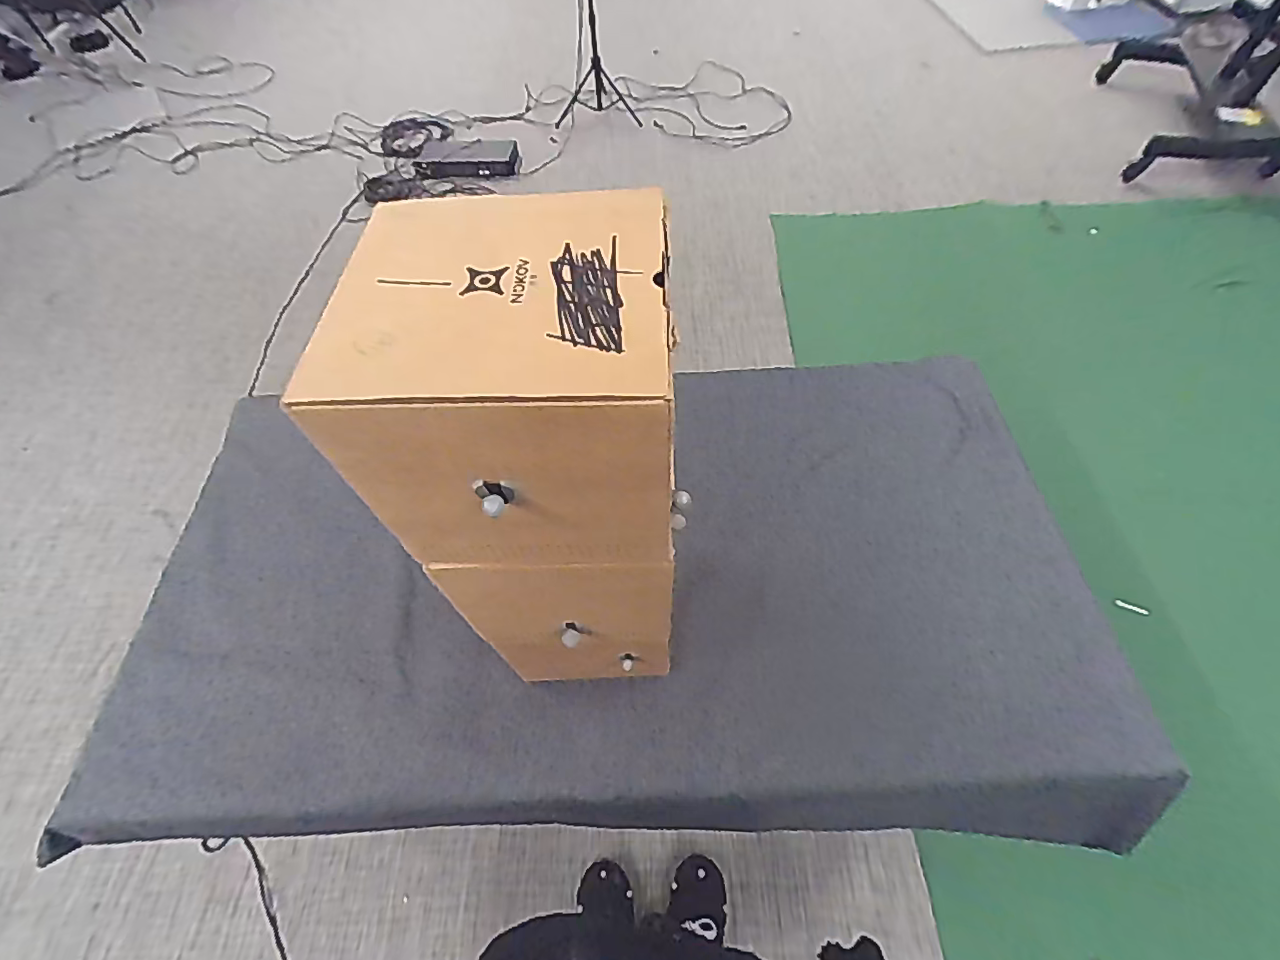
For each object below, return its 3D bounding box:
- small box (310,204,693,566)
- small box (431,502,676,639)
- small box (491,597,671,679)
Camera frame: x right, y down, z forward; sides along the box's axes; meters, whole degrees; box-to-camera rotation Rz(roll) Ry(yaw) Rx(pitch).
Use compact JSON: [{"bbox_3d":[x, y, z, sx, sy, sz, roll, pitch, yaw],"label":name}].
[{"bbox_3d":[-0.066,-0.053,0.354,0.179,0.176,0.168,-3,57,-2],"label":"small box"},{"bbox_3d":[-0.062,0.038,0.491,0.179,0.176,0.168,-2,56,0],"label":"small box"},{"bbox_3d":[-0.058,0.125,0.630,0.179,0.176,0.168,-5,56,1],"label":"small box"}]
